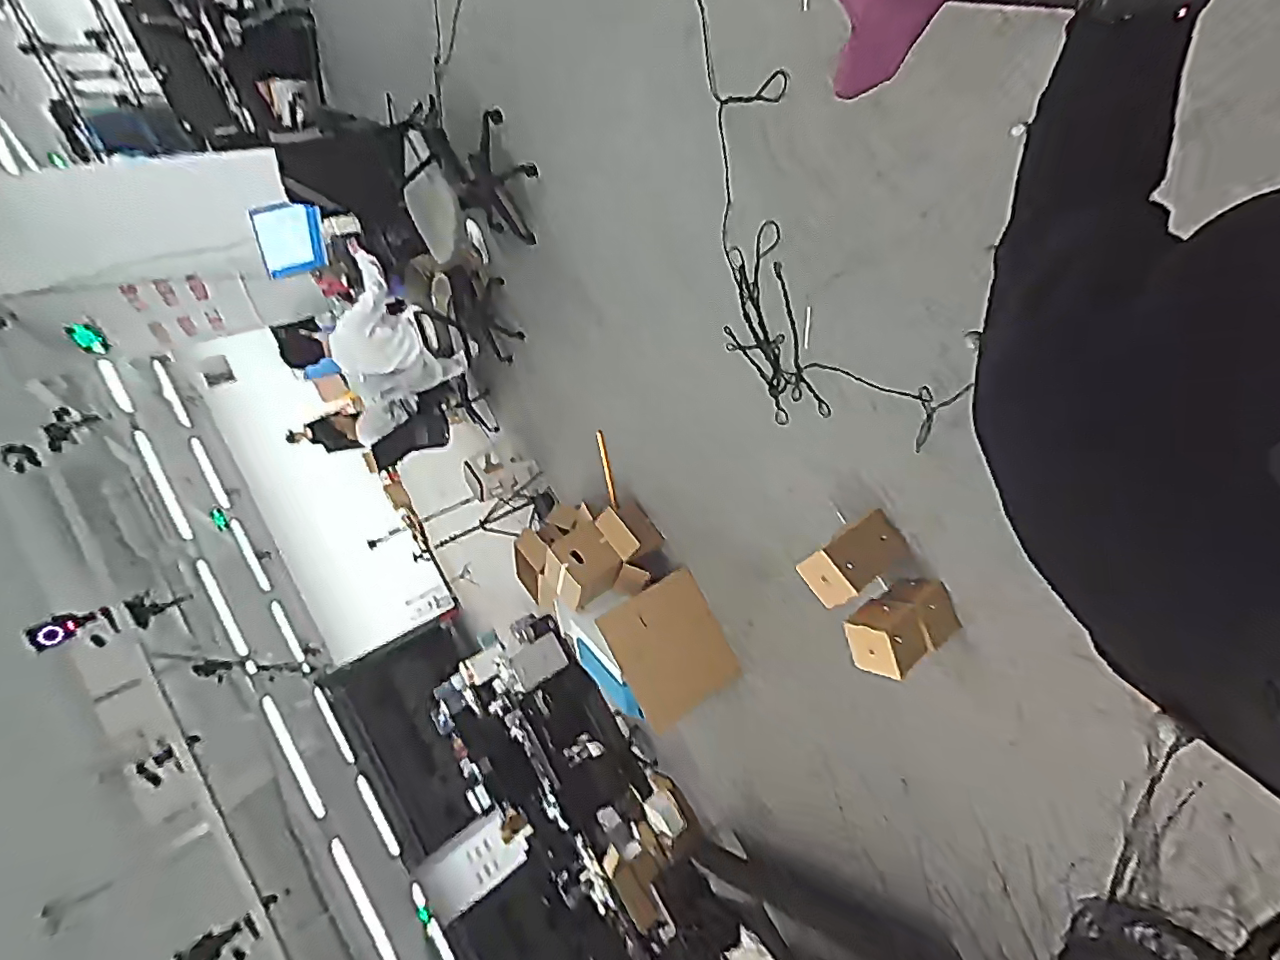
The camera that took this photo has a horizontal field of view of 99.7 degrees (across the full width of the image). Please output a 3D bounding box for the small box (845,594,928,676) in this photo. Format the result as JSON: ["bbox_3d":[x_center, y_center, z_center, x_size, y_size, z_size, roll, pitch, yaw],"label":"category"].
[{"bbox_3d":[0.810,0.500,1.768,0.168,0.176,0.179,-3,110,60],"label":"small box"}]

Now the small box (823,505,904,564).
[{"bbox_3d":[0.790,0.212,1.891,0.168,0.176,0.179,57,151,11],"label":"small box"}]

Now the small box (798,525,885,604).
[{"bbox_3d":[0.672,0.280,1.800,0.179,0.176,0.168,54,149,14],"label":"small box"}]
